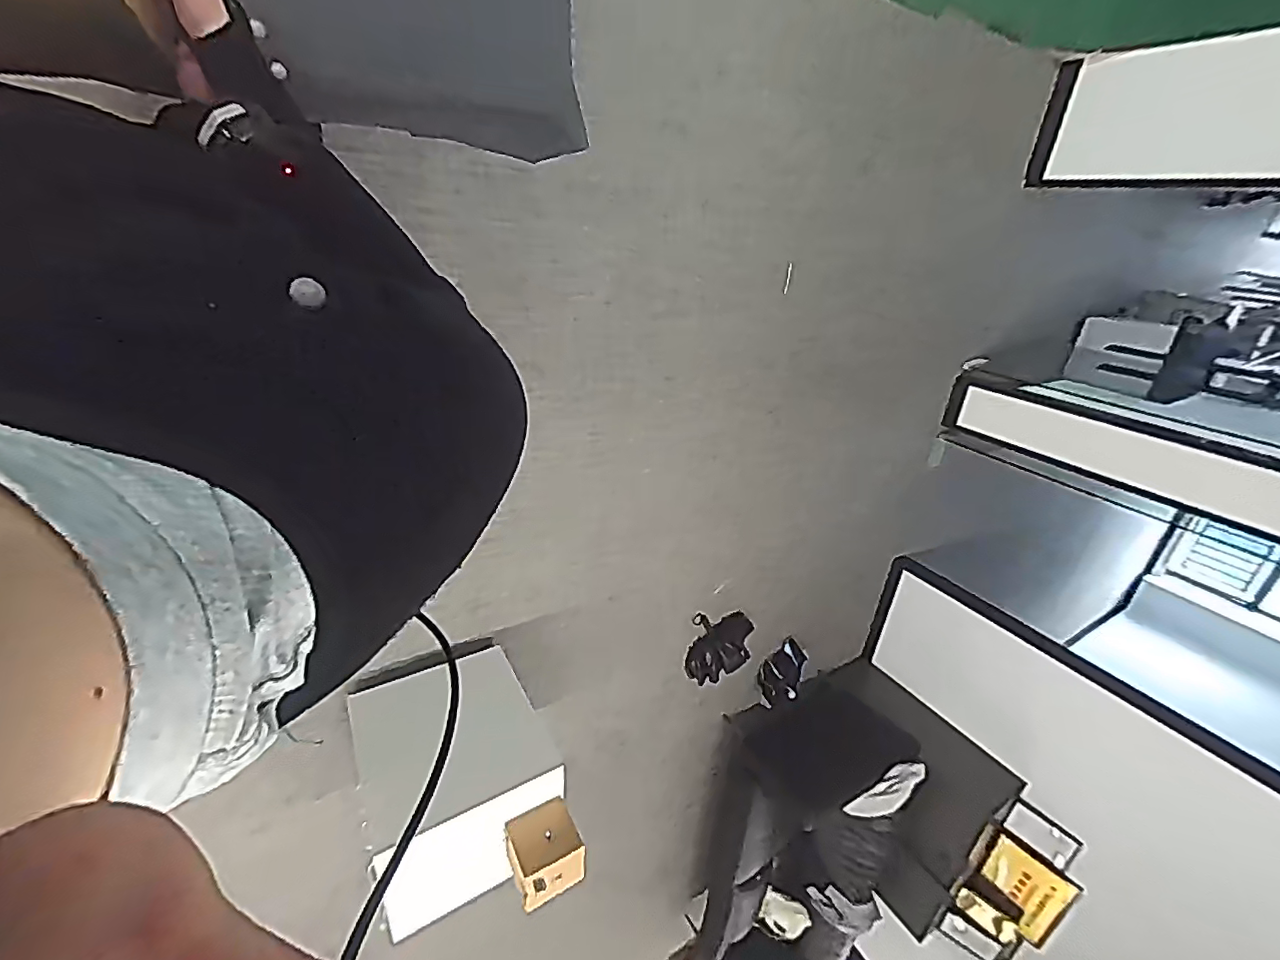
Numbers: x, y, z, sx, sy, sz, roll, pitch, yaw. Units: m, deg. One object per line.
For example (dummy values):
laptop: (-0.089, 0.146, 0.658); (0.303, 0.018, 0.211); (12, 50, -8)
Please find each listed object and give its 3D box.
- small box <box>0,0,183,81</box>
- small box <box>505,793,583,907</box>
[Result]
small box: (-0.439, -0.379, 0.340); (0.179, 0.176, 0.168); (-15, 112, -25)
small box: (-0.279, 1.049, 1.545); (0.179, 0.176, 0.168); (-13, 122, -30)
